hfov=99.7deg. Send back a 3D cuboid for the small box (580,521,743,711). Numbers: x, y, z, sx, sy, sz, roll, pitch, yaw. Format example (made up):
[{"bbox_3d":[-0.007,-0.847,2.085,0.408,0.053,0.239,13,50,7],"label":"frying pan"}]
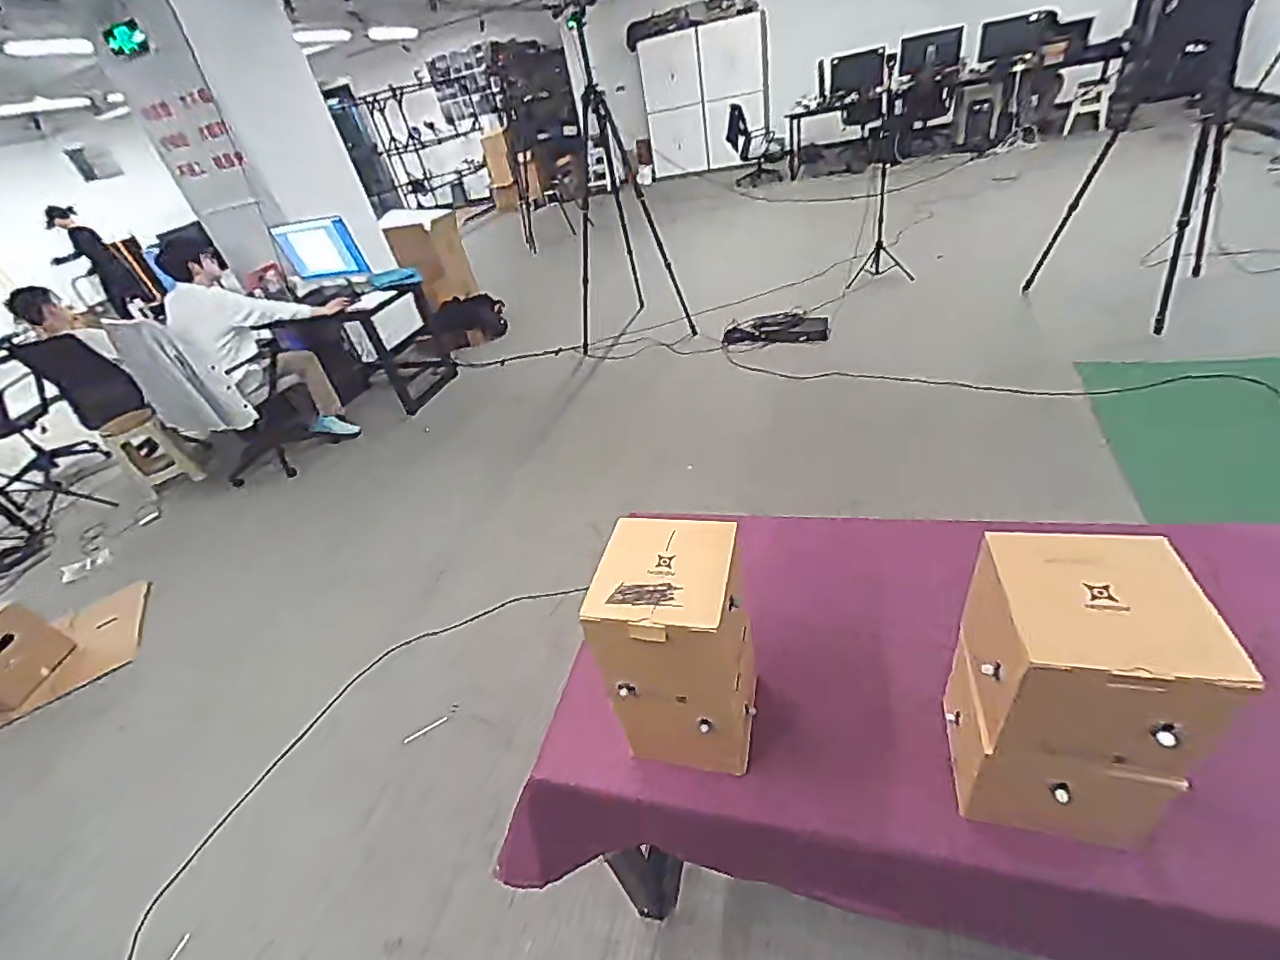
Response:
[{"bbox_3d":[0.042,0.175,0.709,0.168,0.176,0.179,1,37,18],"label":"small box"}]

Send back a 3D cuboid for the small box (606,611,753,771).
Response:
[{"bbox_3d":[0.070,0.305,0.805,0.179,0.176,0.168,2,39,18],"label":"small box"}]

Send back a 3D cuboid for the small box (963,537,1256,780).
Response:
[{"bbox_3d":[0.458,0.182,0.569,0.168,0.176,0.179,1,38,18],"label":"small box"}]

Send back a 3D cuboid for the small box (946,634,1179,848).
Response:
[{"bbox_3d":[0.486,0.315,0.660,0.179,0.176,0.168,2,39,20],"label":"small box"}]
